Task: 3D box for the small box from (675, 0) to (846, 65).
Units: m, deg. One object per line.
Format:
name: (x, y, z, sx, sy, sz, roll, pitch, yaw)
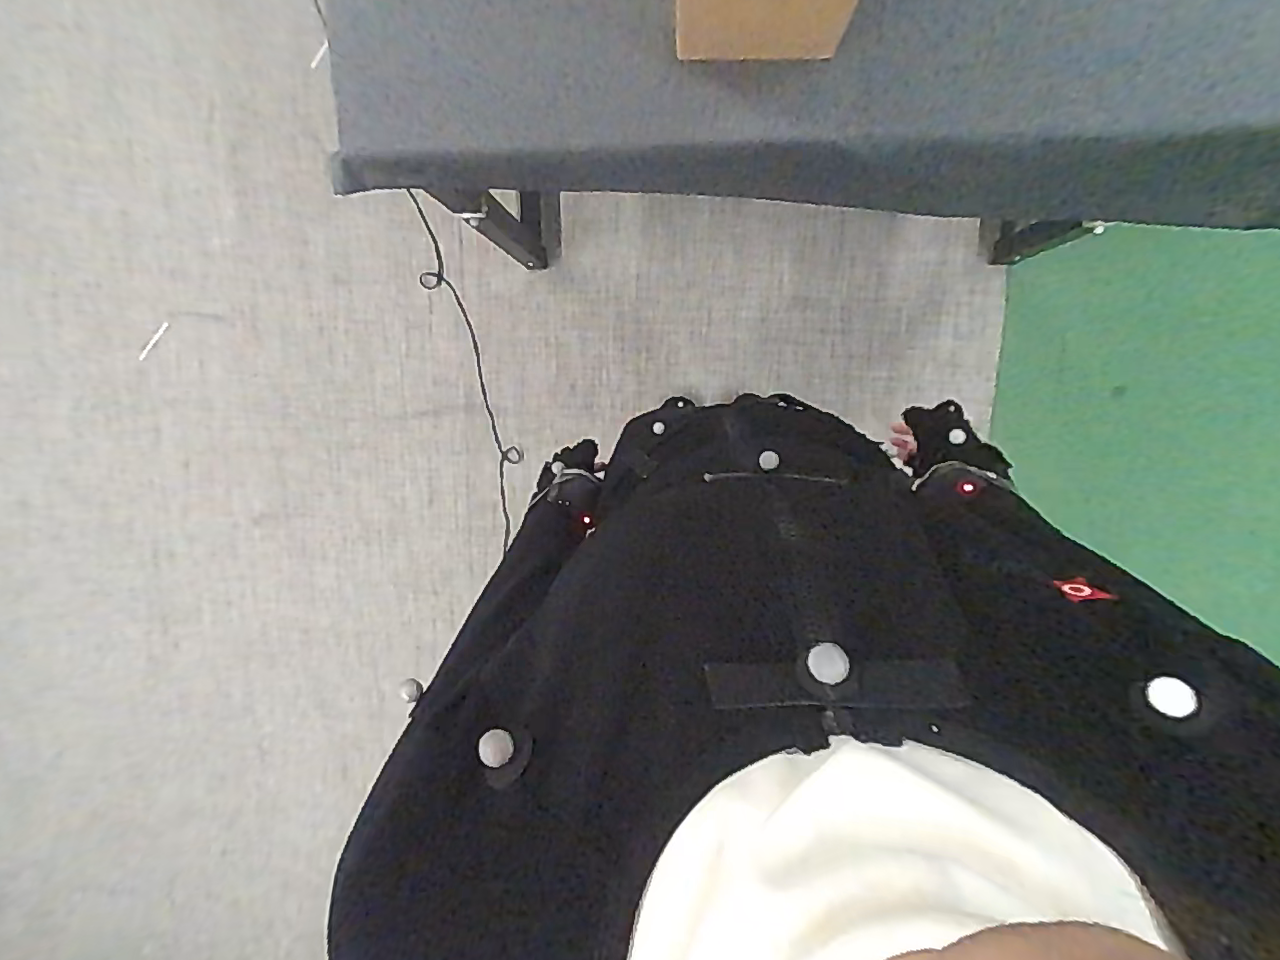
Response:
small box: (0.125, -0.551, 0.539, 0.179, 0.176, 0.168, 3, 100, 4)
